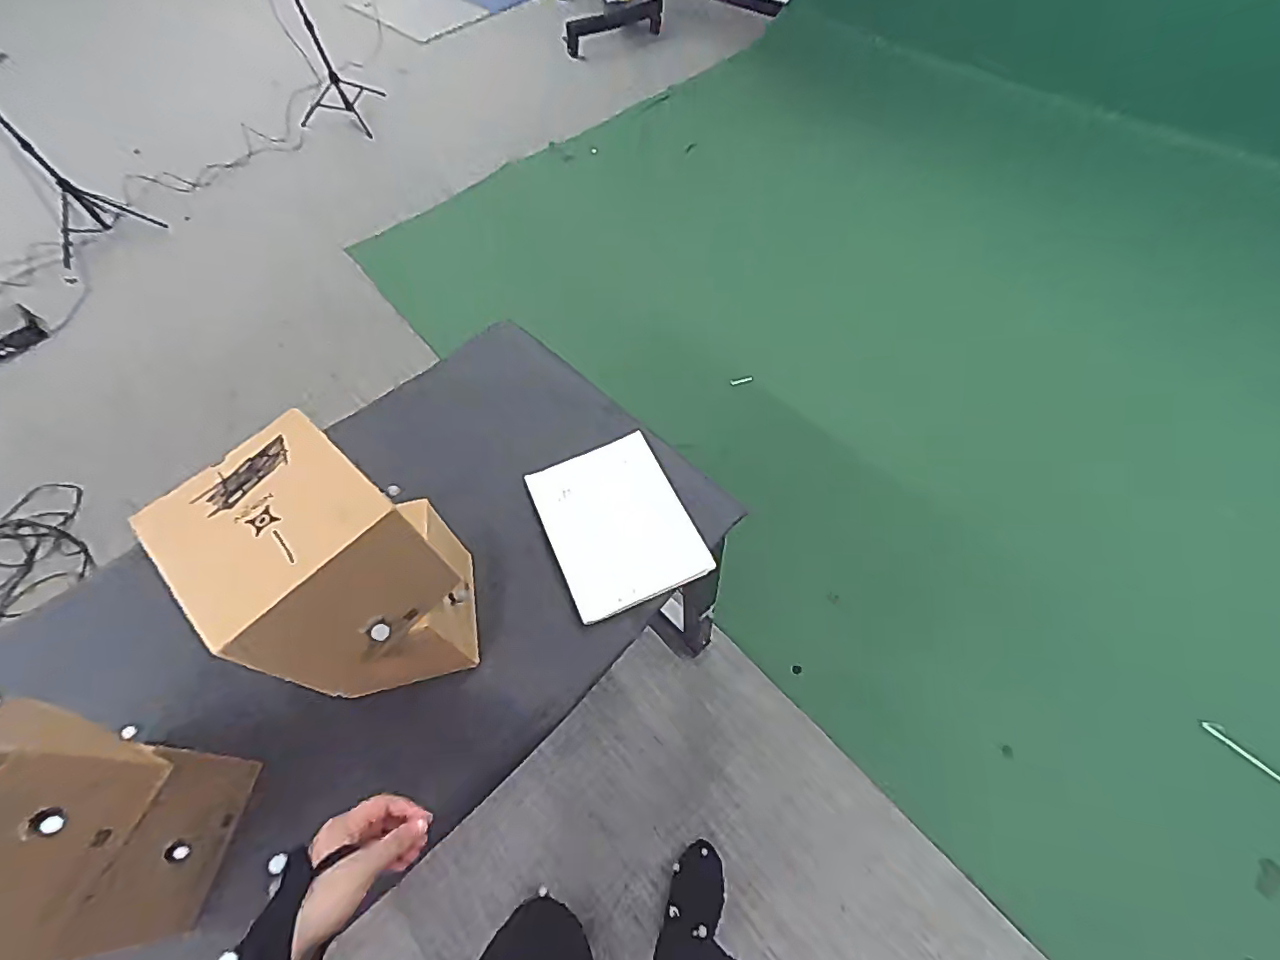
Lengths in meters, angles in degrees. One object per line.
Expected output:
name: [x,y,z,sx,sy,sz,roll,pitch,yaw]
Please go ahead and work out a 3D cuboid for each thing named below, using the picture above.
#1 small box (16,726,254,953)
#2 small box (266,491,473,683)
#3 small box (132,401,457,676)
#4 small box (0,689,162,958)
small box: [-0.561,0.354,0.563,0.179,0.176,0.168,5,59,7]
small box: [-0.317,0.139,0.674,0.179,0.176,0.168,-14,59,-3]
small box: [-0.316,0.064,0.527,0.179,0.176,0.168,37,69,23]
small box: [-0.553,0.265,0.426,0.179,0.176,0.168,15,60,13]
